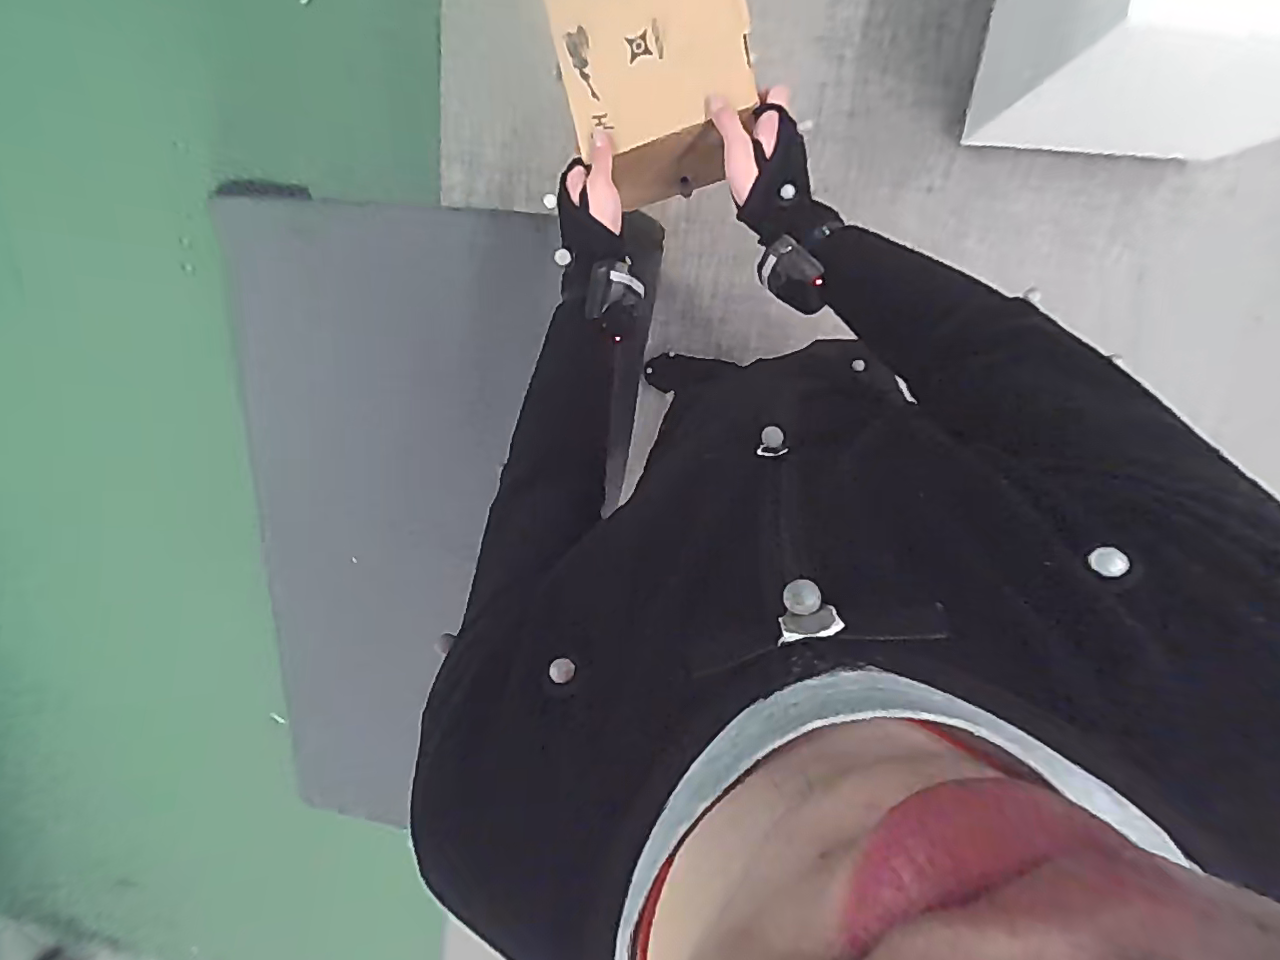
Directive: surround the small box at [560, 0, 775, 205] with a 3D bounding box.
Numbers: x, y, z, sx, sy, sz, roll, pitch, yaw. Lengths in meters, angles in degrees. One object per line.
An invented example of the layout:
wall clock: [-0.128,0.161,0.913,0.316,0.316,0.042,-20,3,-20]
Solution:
small box: [0.033,-0.417,0.566,0.179,0.176,0.168,-11,98,11]
